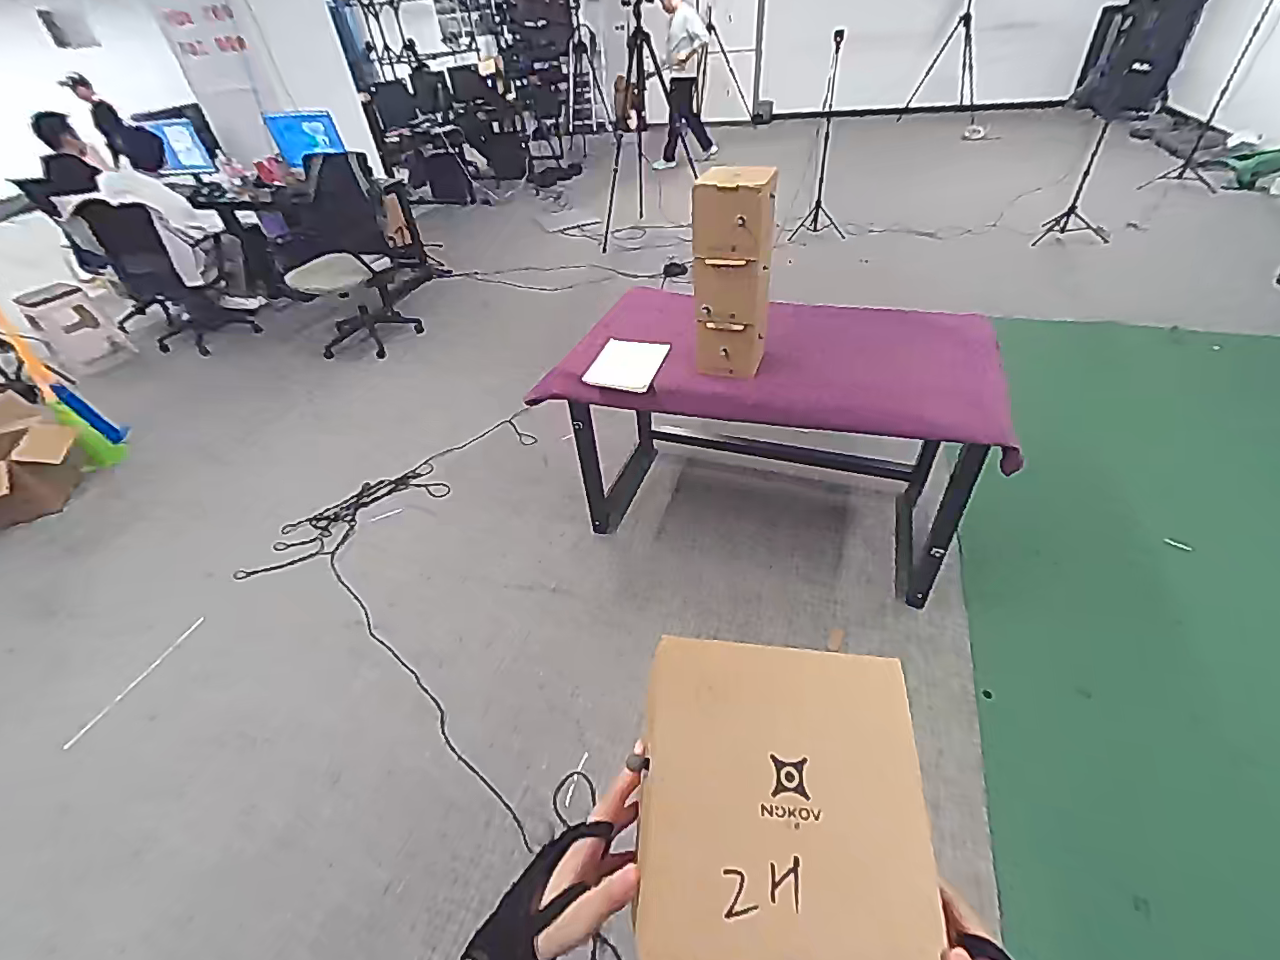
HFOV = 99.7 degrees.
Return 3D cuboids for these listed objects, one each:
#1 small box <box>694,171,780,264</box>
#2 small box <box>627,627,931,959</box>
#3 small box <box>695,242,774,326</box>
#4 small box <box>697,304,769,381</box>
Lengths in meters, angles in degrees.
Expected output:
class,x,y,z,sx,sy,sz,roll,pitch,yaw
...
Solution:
class,x,y,z,sx,sy,sz,roll,pitch,yaw
small box,0.238,-0.642,1.323,0.168,0.176,0.179,12,43,19
small box,0.081,0.228,0.403,0.168,0.176,0.179,6,59,1
small box,0.252,-0.522,1.432,0.168,0.176,0.179,11,42,19
small box,0.267,-0.401,1.544,0.168,0.176,0.179,12,44,18
